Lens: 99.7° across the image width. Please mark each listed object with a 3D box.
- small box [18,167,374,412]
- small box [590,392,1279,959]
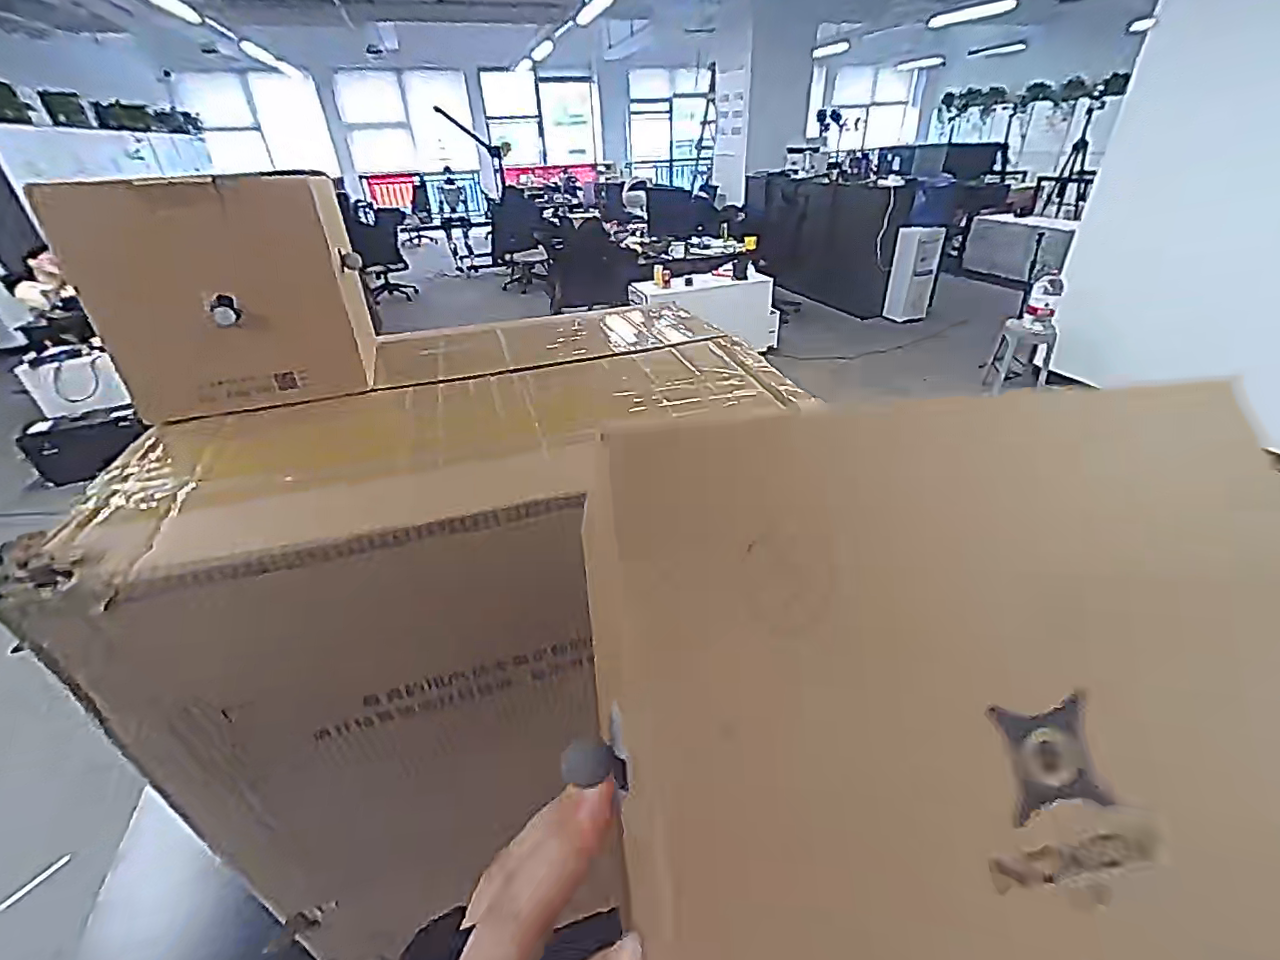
[{"bbox_3d":[-0.341,-0.167,0.468,0.168,0.176,0.179,-13,32,-18],"label":"small box"},{"bbox_3d":[0.073,0.086,0.186,0.168,0.176,0.179,-5,77,-8],"label":"small box"}]
